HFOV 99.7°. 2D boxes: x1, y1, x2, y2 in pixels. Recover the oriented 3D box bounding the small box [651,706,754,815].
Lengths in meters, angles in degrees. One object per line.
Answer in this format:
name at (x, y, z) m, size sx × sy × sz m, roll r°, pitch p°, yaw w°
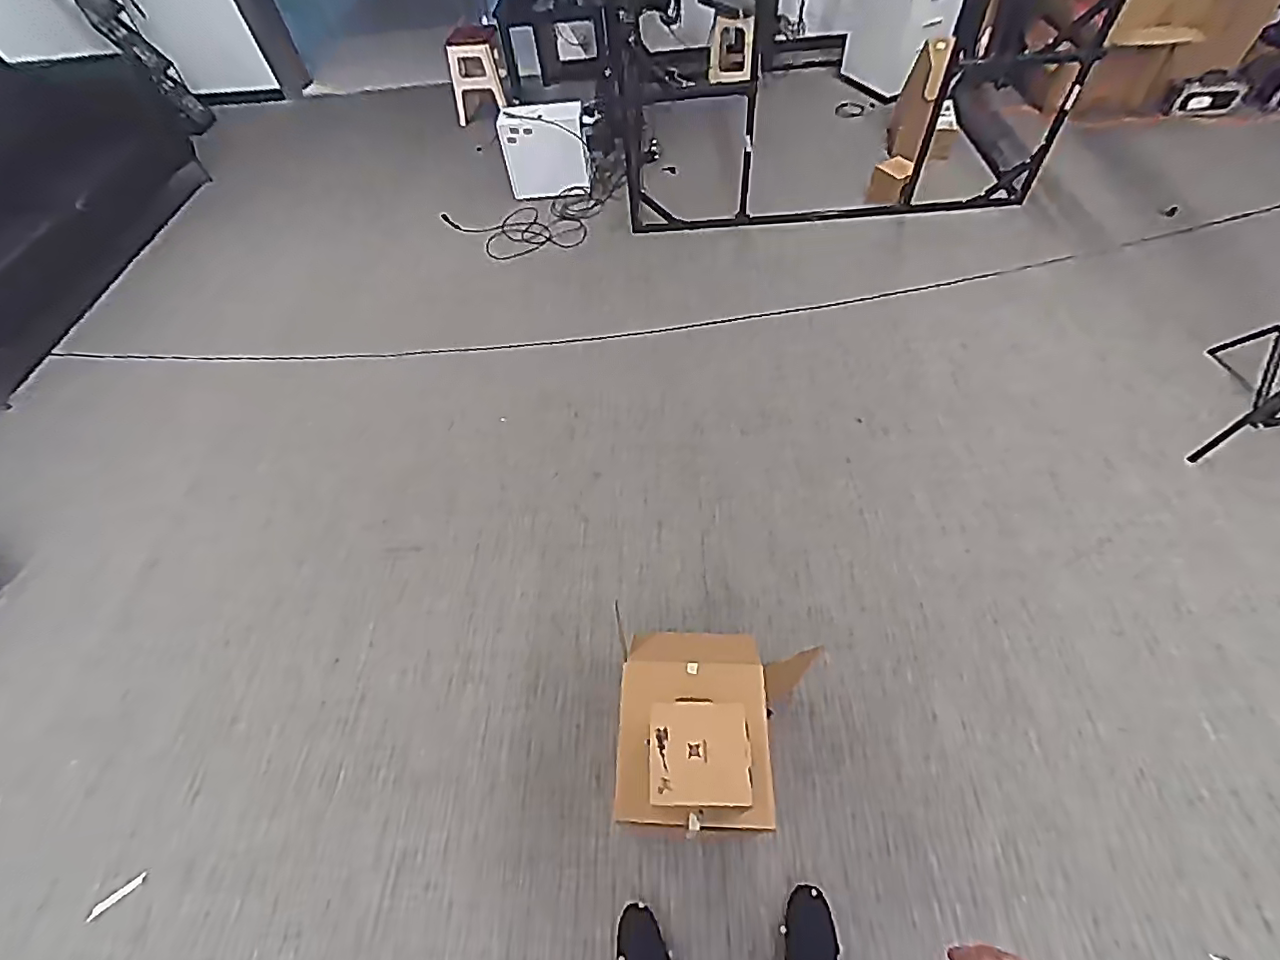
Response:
small box at (0.112, 0.531, 1.020) m, size 0.179 × 0.176 × 0.168 m, roll -1°, pitch 56°, yaw 4°
